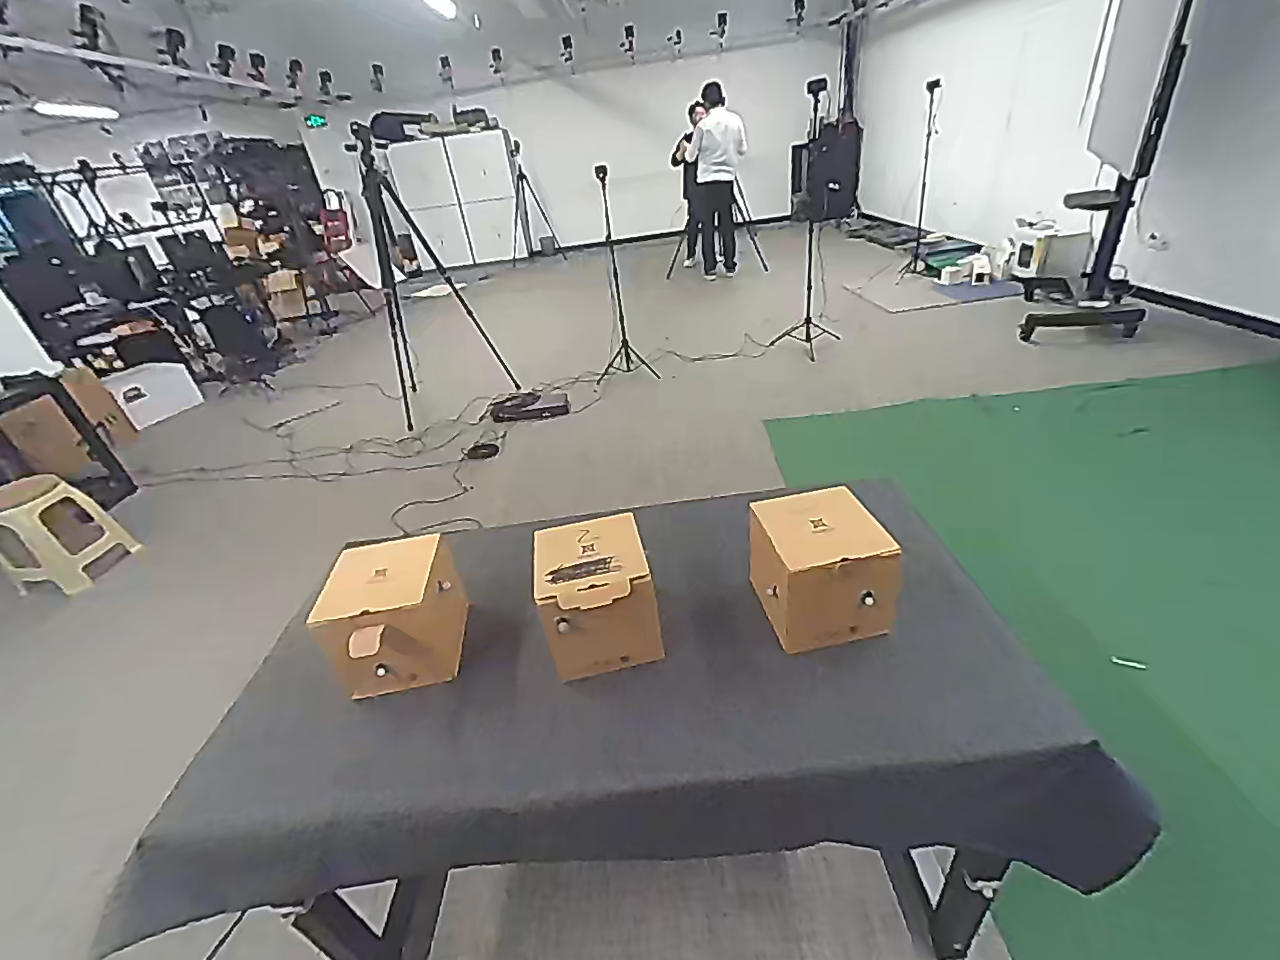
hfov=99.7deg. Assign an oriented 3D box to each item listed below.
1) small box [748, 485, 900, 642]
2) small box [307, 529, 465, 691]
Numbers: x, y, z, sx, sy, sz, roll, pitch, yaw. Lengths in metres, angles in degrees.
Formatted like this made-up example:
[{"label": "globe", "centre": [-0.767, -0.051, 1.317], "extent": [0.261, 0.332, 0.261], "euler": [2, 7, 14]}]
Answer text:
[{"label": "small box", "centre": [0.276, 0.133, 0.845], "extent": [0.168, 0.176, 0.179], "euler": [-10, 30, -4]}, {"label": "small box", "centre": [-0.392, 0.207, 0.874], "extent": [0.168, 0.176, 0.179], "euler": [-10, 32, -4]}]
